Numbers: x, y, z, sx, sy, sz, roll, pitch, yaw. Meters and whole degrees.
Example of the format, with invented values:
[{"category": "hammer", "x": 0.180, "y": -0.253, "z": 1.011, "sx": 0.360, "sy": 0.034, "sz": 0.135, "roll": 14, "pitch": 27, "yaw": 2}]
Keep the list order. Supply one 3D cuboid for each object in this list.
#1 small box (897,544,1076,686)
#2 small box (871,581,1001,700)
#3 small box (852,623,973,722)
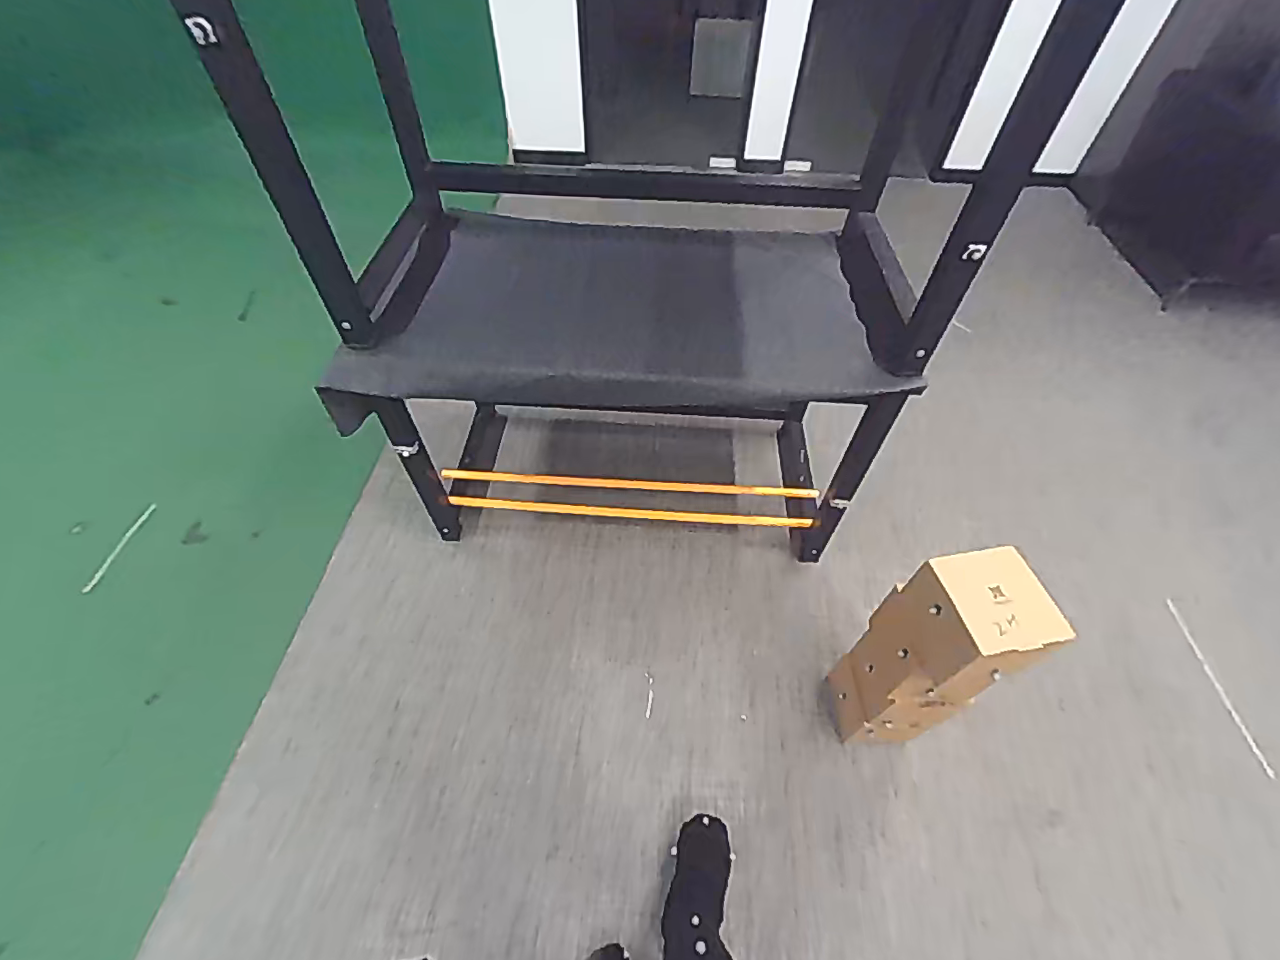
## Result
[{"category": "small box", "x": 0.584, "y": 0.237, "z": 0.946, "sx": 0.168, "sy": 0.176, "sz": 0.179, "roll": -8, "pitch": 53, "yaw": -6}, {"category": "small box", "x": 0.585, "y": 0.324, "z": 1.086, "sx": 0.168, "sy": 0.176, "sz": 0.179, "roll": 3, "pitch": 52, "yaw": 2}, {"category": "small box", "x": 0.596, "y": 0.430, "z": 1.209, "sx": 0.168, "sy": 0.176, "sz": 0.179, "roll": 1, "pitch": 51, "yaw": 0}]
